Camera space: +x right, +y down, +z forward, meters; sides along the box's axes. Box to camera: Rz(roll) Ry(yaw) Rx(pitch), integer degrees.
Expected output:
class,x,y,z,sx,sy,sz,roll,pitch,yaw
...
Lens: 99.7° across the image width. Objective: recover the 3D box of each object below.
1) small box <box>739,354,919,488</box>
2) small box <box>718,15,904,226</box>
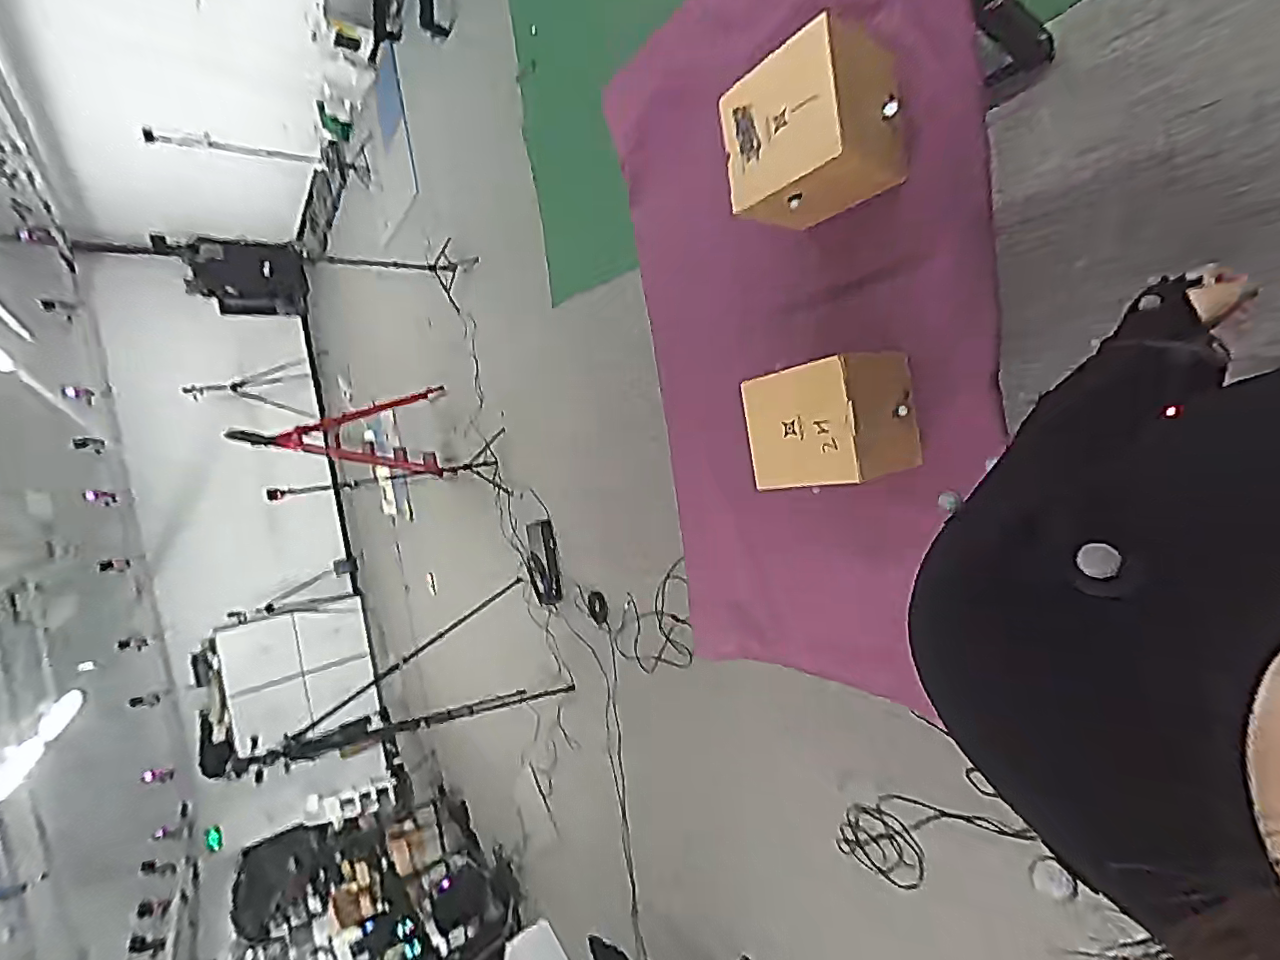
class,x,y,z,sx,sy,sz,roll,pitch,yaw
small box,0.276,-0.084,0.795,0.179,0.176,0.168,-7,94,54
small box,0.237,-0.475,0.753,0.179,0.176,0.168,-5,95,52
